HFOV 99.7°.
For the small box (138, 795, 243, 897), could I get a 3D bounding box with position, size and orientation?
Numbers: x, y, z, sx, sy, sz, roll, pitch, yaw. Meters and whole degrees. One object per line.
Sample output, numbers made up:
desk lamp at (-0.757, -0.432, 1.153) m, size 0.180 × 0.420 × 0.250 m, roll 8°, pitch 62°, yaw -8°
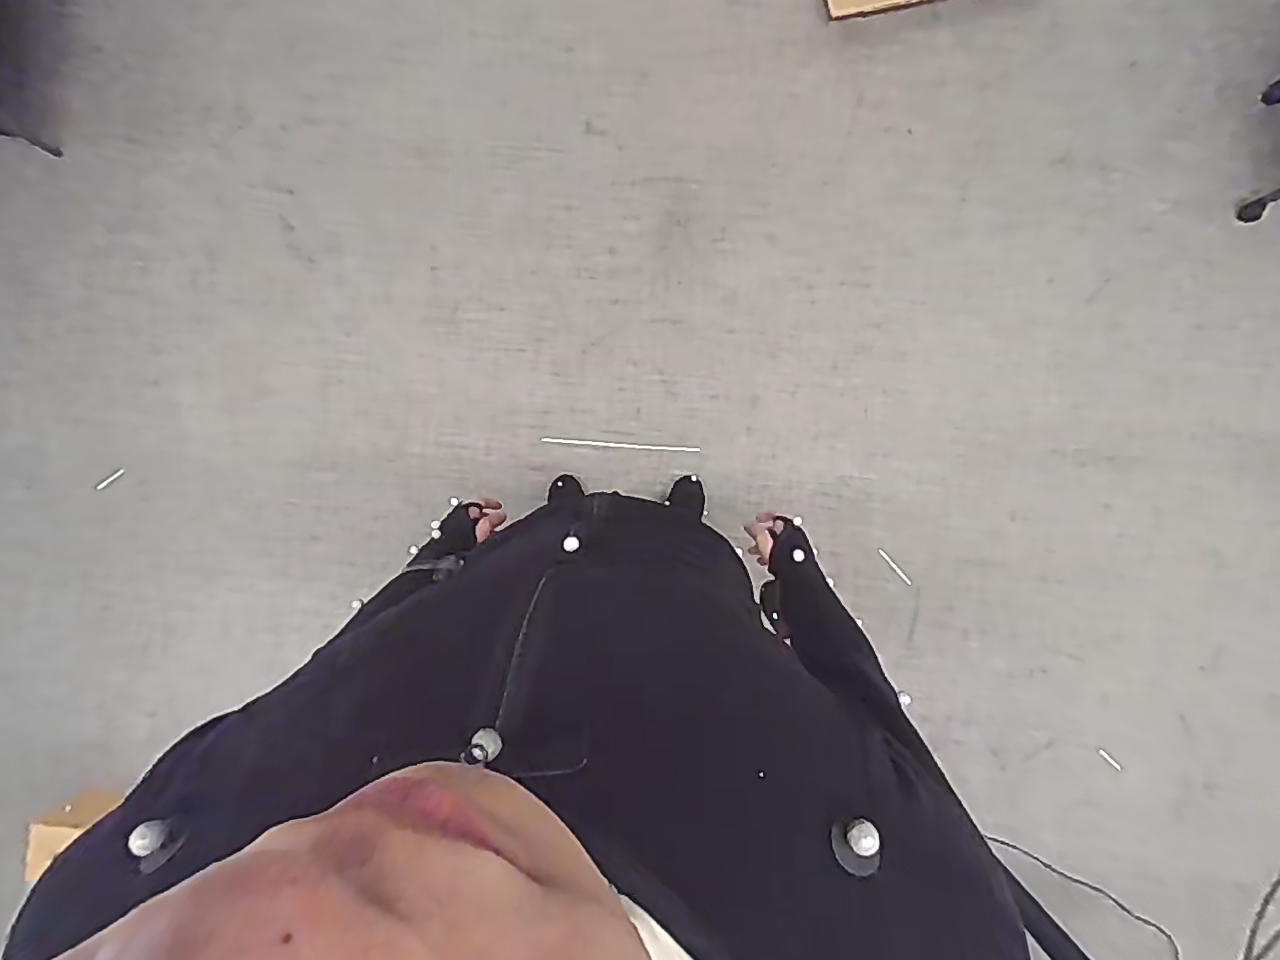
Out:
small box at (-1.303, 1.062, 1.578) m, size 0.168 × 0.176 × 0.179 m, roll 7°, pitch 90°, yaw 1°
